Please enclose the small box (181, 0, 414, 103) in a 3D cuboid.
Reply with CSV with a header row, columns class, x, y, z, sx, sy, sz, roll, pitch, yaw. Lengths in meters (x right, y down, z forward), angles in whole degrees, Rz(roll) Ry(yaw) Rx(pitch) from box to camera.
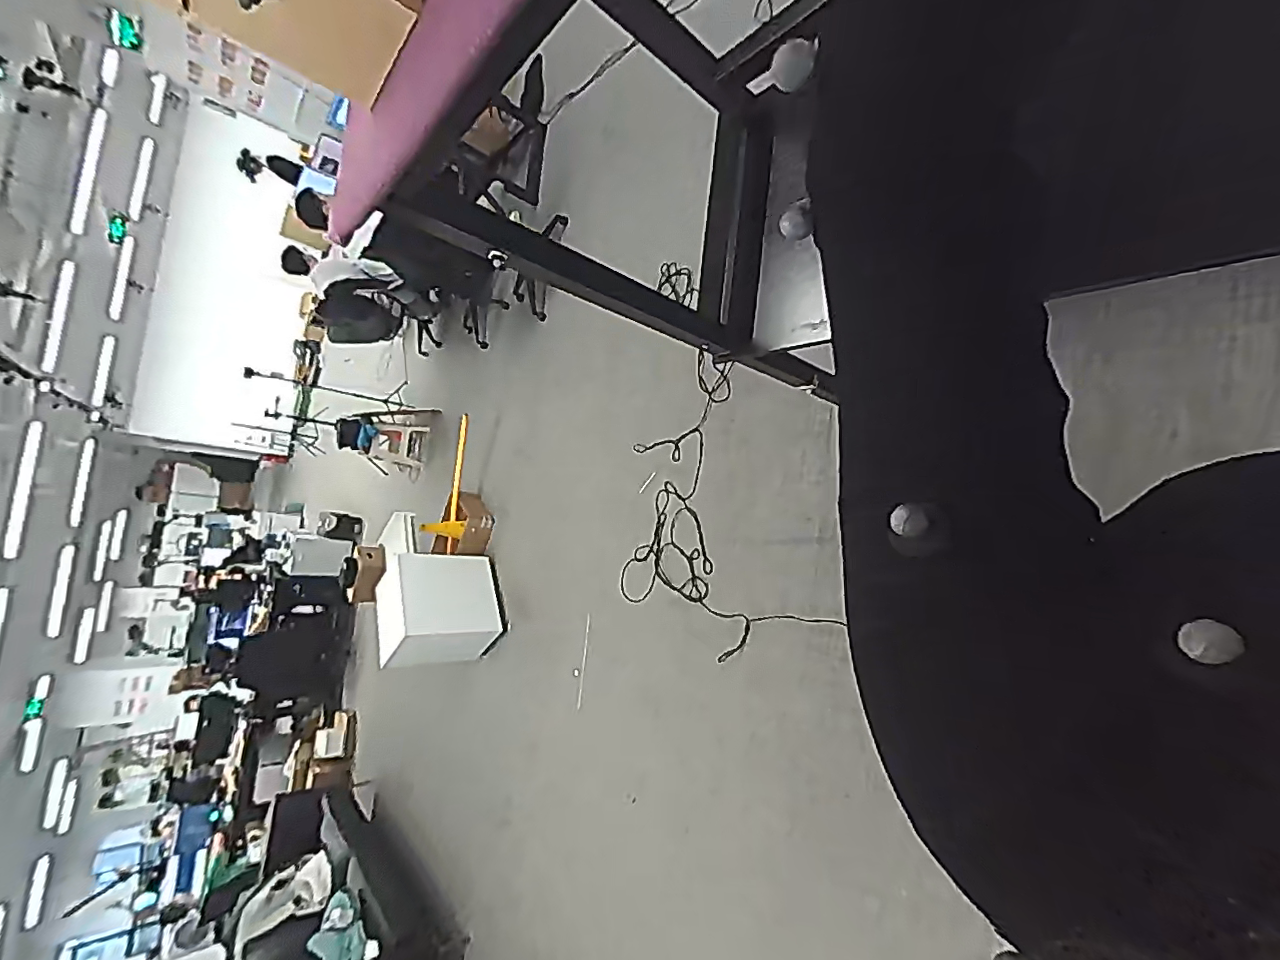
class,x,y,z,sx,sy,sz,roll,pitch,yaw
small box,-0.311,-0.510,0.509,0.179,0.176,0.168,0,84,50
